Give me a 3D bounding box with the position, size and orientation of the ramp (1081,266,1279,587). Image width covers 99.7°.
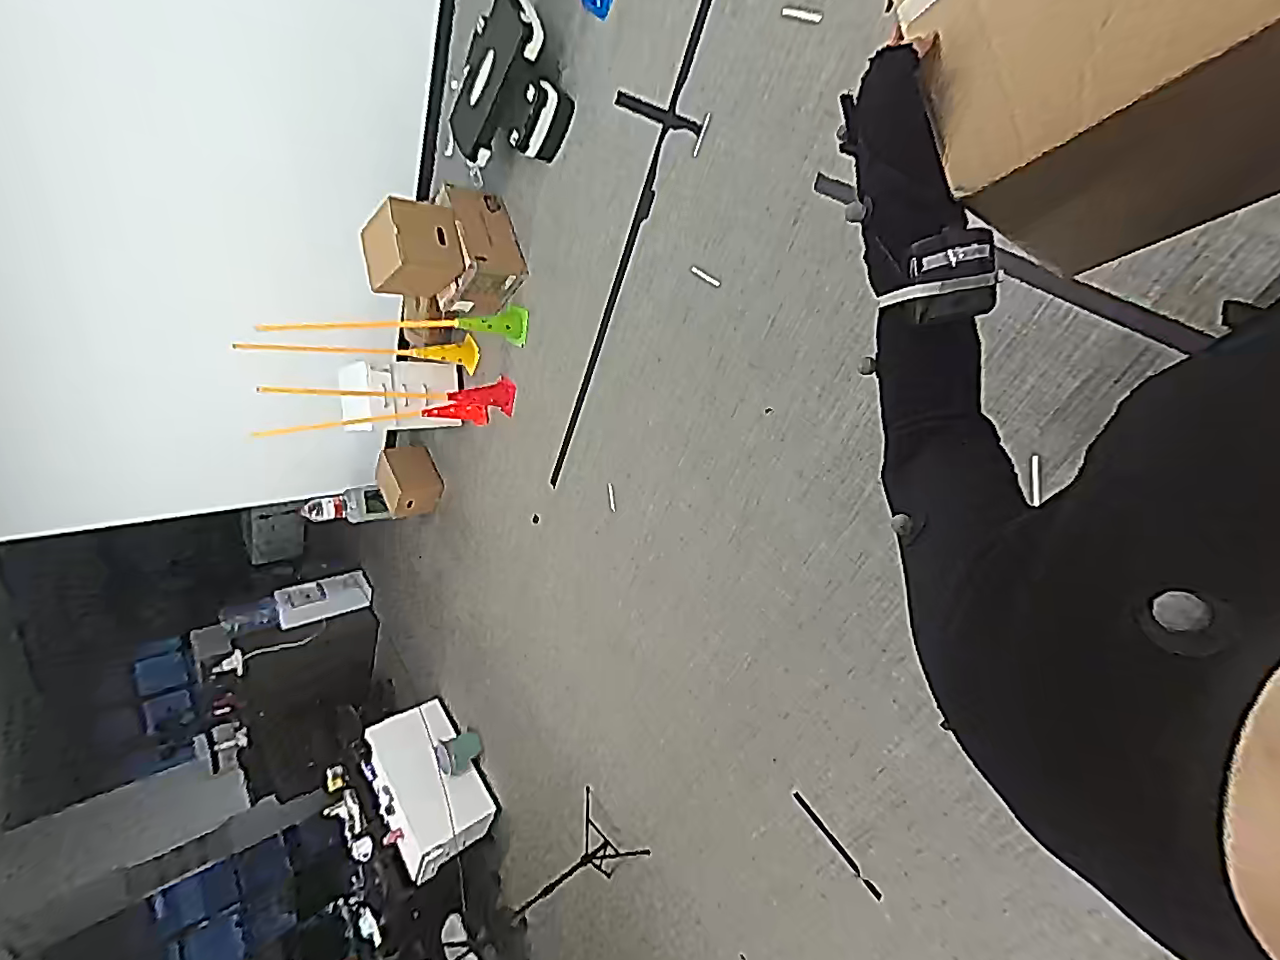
[{"bbox_3d":[1.411,0.081,0.878,0.991,0.206,0.509,42,124,32],"label":"ramp"}]

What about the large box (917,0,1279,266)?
[{"bbox_3d":[0.453,-0.414,0.370,0.408,0.320,0.320,-19,79,49],"label":"large box"}]
